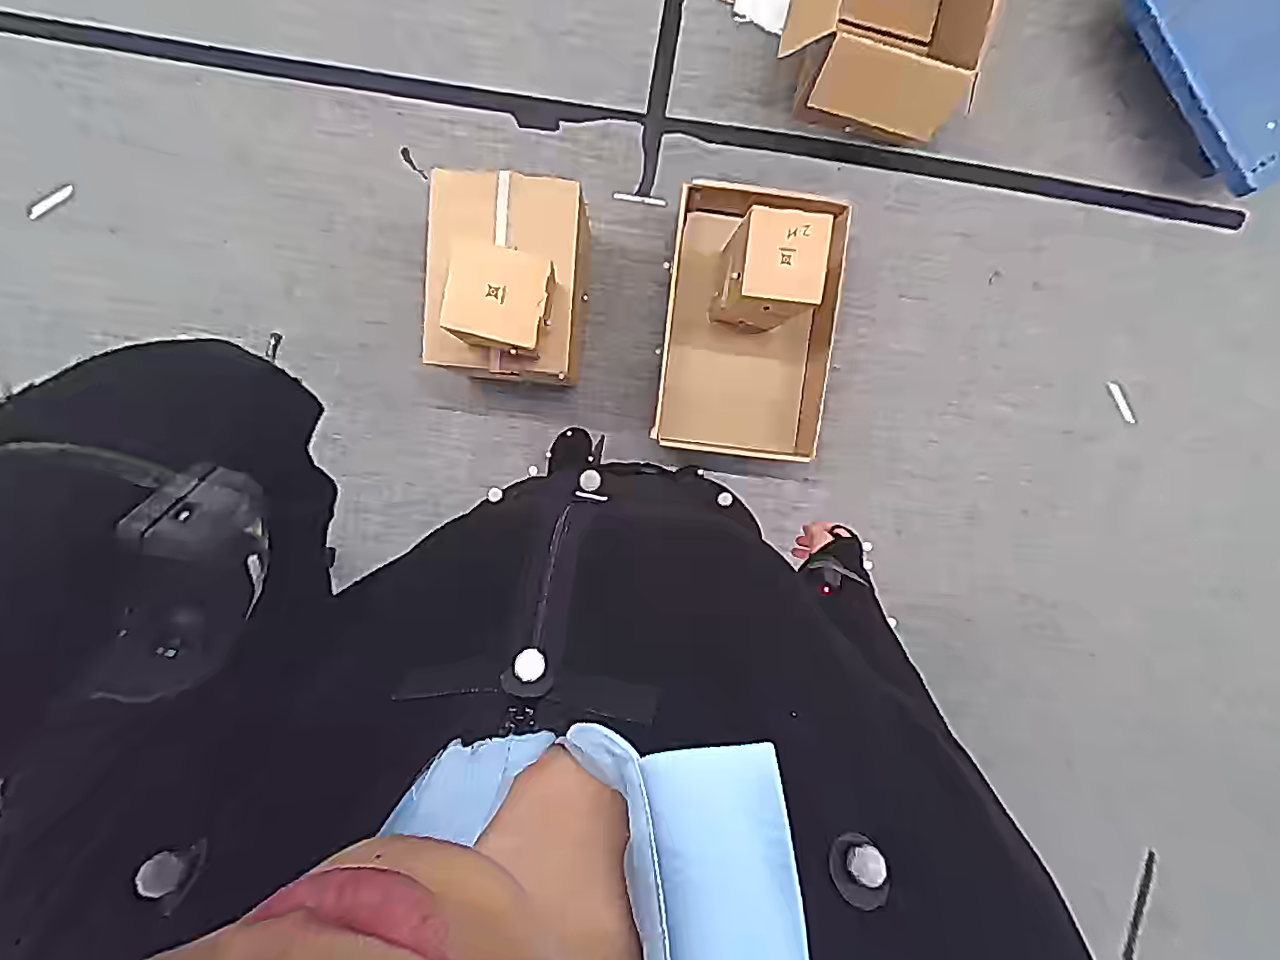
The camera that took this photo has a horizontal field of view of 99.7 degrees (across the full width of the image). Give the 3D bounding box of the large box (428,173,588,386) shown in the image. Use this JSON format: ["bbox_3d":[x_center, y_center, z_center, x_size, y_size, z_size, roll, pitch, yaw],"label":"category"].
[{"bbox_3d":[-0.292,-0.446,1.285,0.320,0.320,0.408,4,96,-1],"label":"large box"}]

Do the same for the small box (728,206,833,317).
[{"bbox_3d":[0.289,-0.454,1.151,0.168,0.176,0.179,6,97,-3],"label":"small box"}]
